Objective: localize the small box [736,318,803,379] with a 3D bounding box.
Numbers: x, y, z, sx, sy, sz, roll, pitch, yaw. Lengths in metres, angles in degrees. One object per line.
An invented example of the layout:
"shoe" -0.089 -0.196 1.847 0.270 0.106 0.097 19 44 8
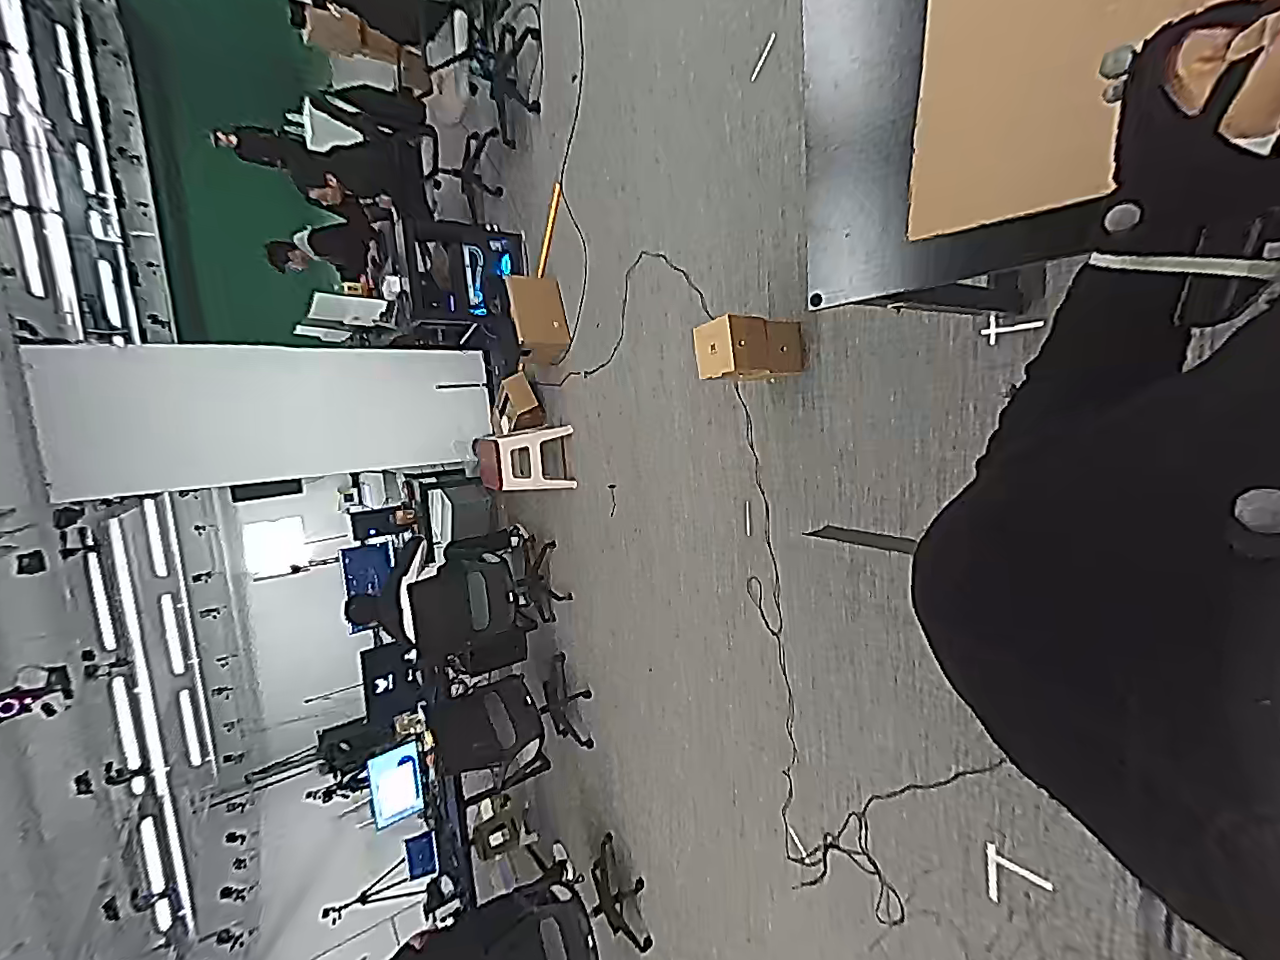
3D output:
"small box" 0.439 -0.445 1.853 0.168 0.176 0.179 1 98 55

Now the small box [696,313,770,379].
"small box" 0.305 -0.432 1.762 0.168 0.176 0.179 -5 92 55
